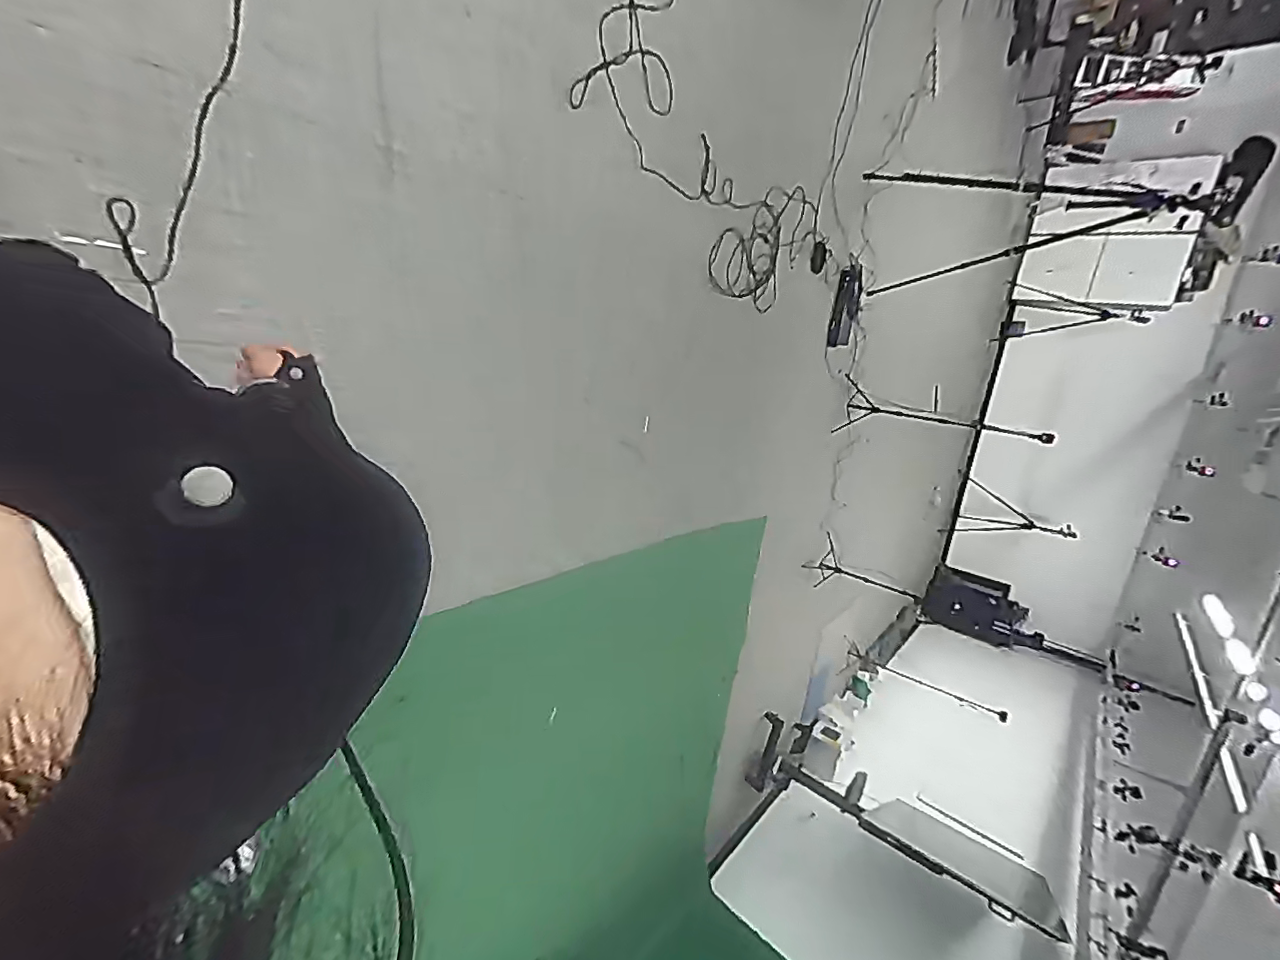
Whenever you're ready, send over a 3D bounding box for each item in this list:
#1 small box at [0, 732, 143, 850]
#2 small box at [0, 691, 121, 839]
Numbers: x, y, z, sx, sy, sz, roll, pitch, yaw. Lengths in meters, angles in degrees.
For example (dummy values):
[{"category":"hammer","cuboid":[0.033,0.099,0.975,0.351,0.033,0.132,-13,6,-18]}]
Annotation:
[{"category":"small box","cuboid":[-1.011,0.584,0.967,0.168,0.176,0.179,-7,110,-49]},{"category":"small box","cuboid":[-1.140,0.555,1.065,0.168,0.176,0.179,-10,111,-49]}]
